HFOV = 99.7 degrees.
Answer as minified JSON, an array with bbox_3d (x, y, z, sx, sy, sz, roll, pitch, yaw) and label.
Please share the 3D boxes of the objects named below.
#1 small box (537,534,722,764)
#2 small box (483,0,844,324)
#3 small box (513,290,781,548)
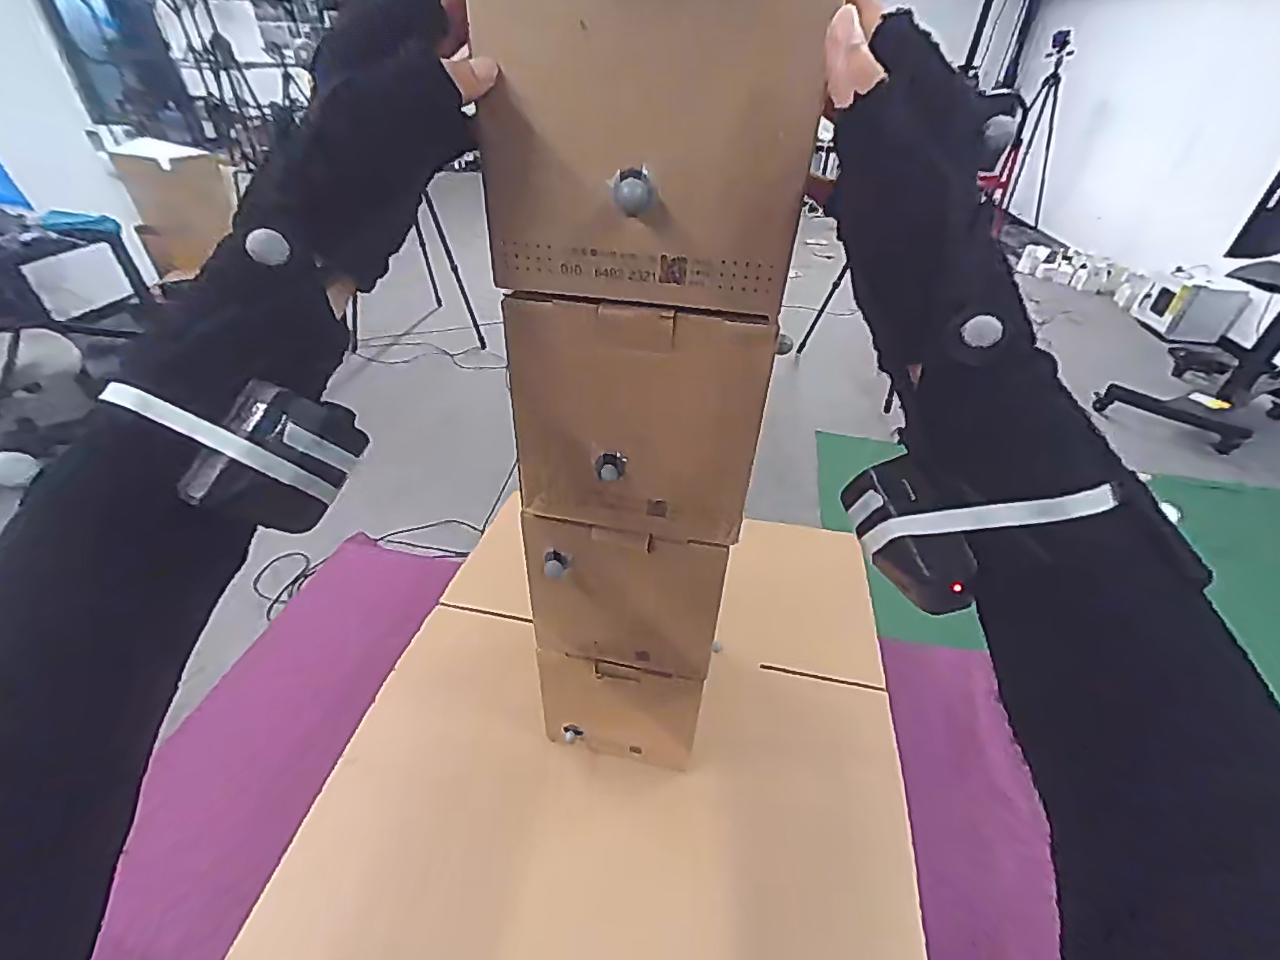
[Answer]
[{"bbox_3d":[-0.004,0.192,0.621,0.168,0.176,0.179,9,36,9],"label":"small box"},{"bbox_3d":[0.015,-0.211,0.330,0.168,0.176,0.179,8,37,6],"label":"small box"},{"bbox_3d":[0.011,-0.075,0.429,0.168,0.176,0.179,9,36,7],"label":"small box"}]
